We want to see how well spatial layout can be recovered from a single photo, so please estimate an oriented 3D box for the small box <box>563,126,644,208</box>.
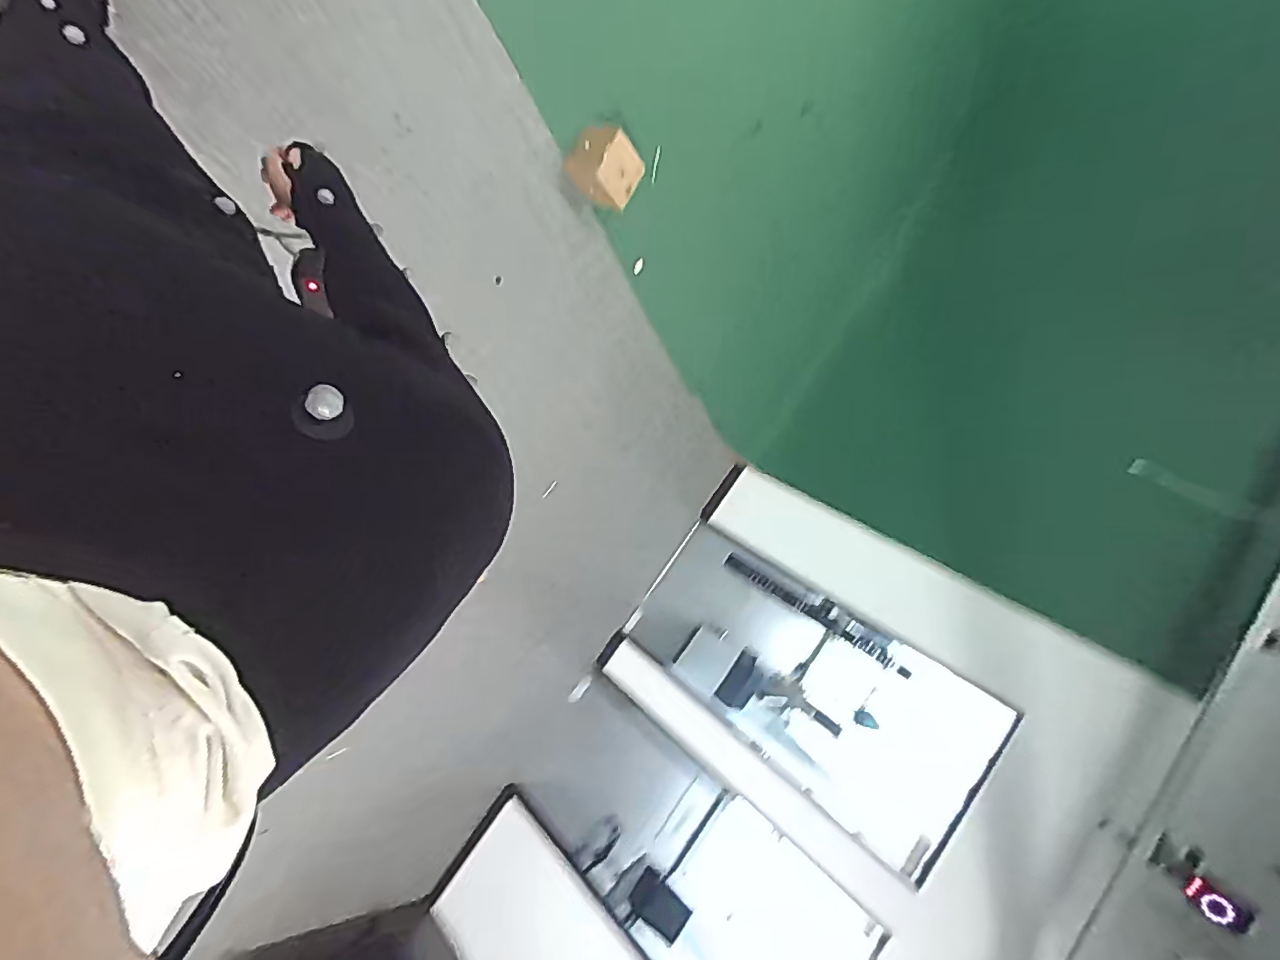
[{"bbox_3d":[-0.125,-1.049,1.811,0.168,0.176,0.179,-60,147,2],"label":"small box"}]
